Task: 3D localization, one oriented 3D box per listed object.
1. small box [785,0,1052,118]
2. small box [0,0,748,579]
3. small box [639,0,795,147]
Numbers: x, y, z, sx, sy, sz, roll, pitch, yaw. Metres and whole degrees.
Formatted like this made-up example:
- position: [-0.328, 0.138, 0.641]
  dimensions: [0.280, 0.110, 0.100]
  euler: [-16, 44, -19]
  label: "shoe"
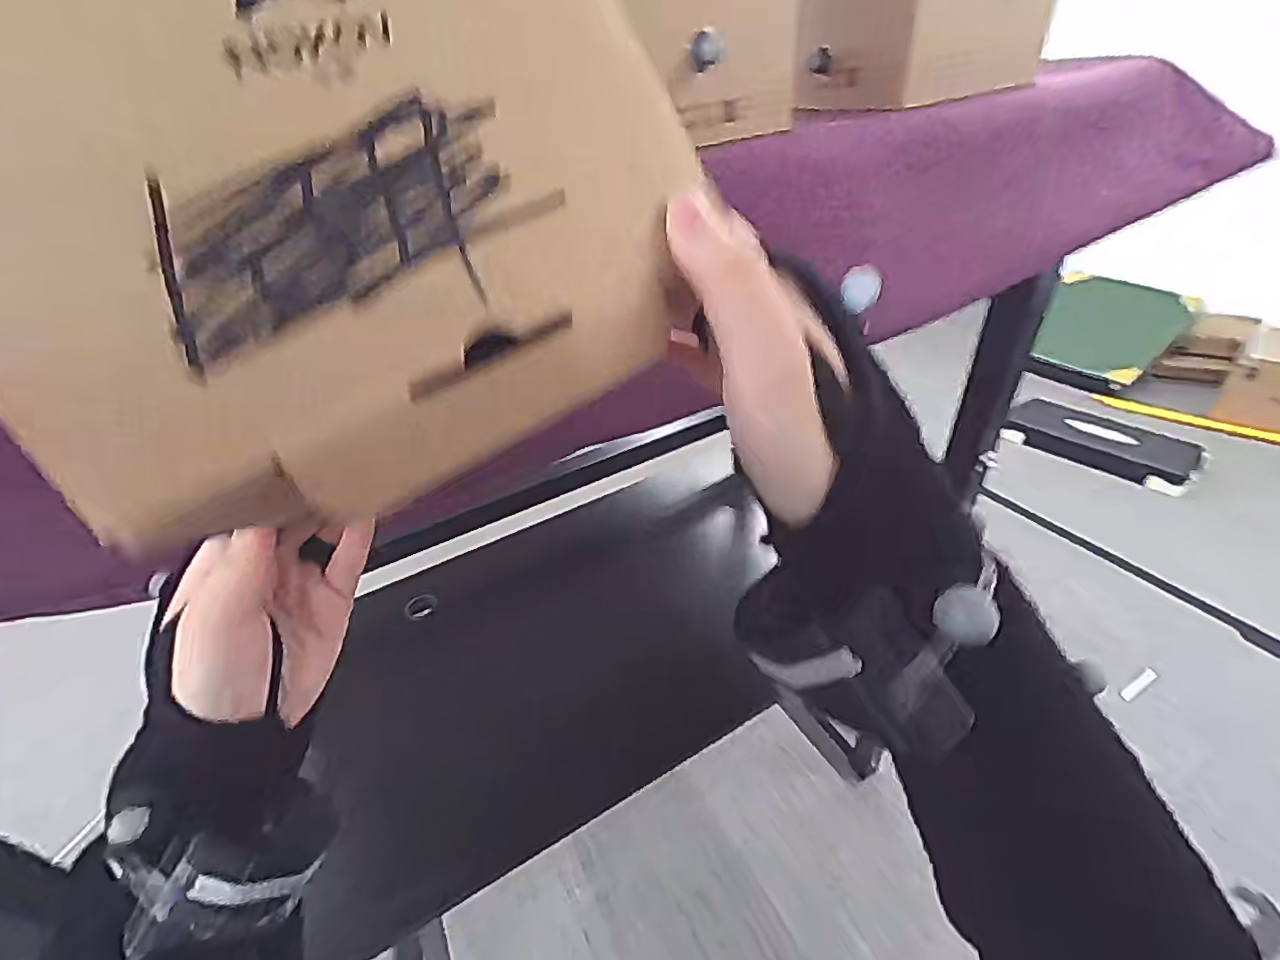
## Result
- position: [0.248, -0.441, 0.488]
  dimensions: [0.179, 0.176, 0.168]
  euler: [-22, 39, -17]
  label: "small box"
- position: [-0.103, -0.092, 0.185]
  dimensions: [0.168, 0.179, 0.176]
  euler: [-33, 11, -23]
  label: "small box"
- position: [-0.004, -0.347, 0.403]
  dimensions: [0.168, 0.176, 0.179]
  euler: [-24, 40, -21]
  label: "small box"
